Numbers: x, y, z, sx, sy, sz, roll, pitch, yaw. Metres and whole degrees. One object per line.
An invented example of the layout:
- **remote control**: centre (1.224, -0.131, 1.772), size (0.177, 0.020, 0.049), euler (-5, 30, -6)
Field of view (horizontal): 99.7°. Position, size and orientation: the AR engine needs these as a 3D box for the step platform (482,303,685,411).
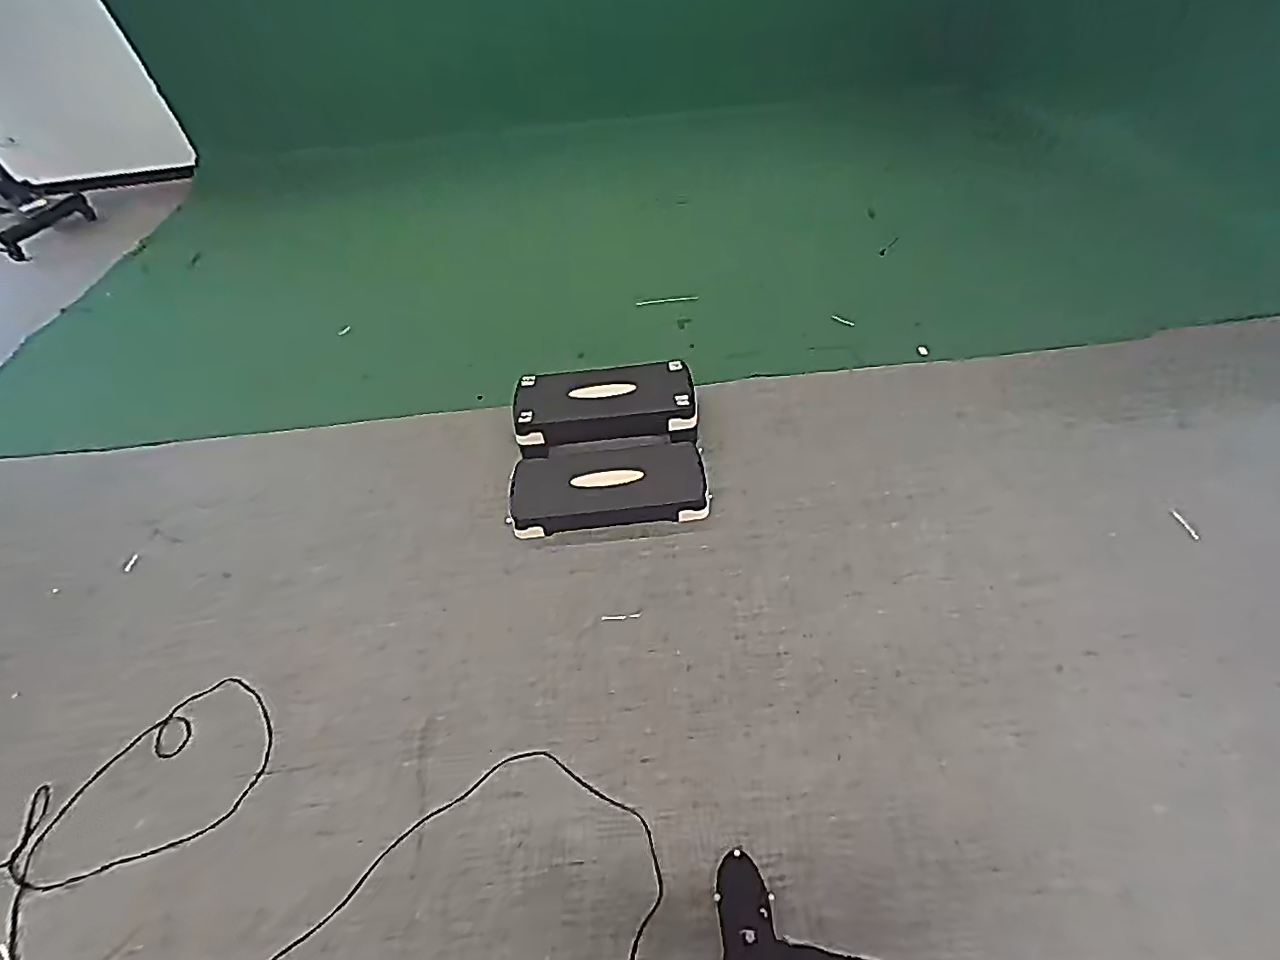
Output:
- **step platform**: centre (-0.188, -0.430, 1.898), size (0.684, 0.204, 0.286), euler (-7, 51, 1)
